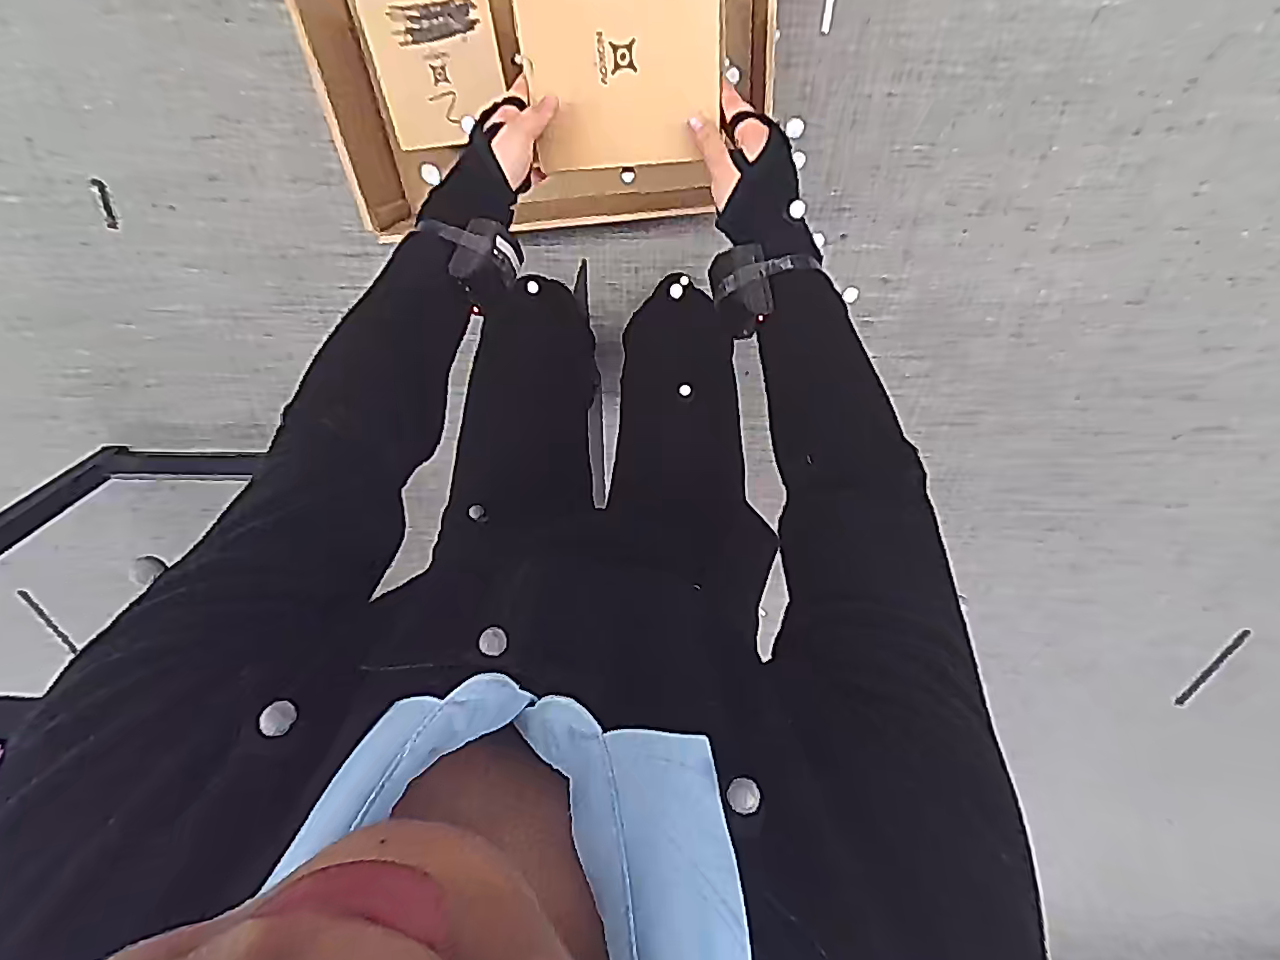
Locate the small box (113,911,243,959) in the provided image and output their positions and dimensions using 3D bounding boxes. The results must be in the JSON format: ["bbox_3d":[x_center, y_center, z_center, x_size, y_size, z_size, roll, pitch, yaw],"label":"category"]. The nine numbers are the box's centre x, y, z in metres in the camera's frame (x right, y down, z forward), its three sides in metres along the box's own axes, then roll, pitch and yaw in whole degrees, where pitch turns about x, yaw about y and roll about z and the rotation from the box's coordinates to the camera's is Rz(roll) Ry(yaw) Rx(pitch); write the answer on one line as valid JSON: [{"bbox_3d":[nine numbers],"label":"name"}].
[{"bbox_3d":[-0.999,1.053,1.149,0.168,0.176,0.179,1,125,3],"label":"small box"}]

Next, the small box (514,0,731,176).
[{"bbox_3d":[-0.002,-0.401,0.519,0.179,0.176,0.168,2,126,10],"label":"small box"}]
